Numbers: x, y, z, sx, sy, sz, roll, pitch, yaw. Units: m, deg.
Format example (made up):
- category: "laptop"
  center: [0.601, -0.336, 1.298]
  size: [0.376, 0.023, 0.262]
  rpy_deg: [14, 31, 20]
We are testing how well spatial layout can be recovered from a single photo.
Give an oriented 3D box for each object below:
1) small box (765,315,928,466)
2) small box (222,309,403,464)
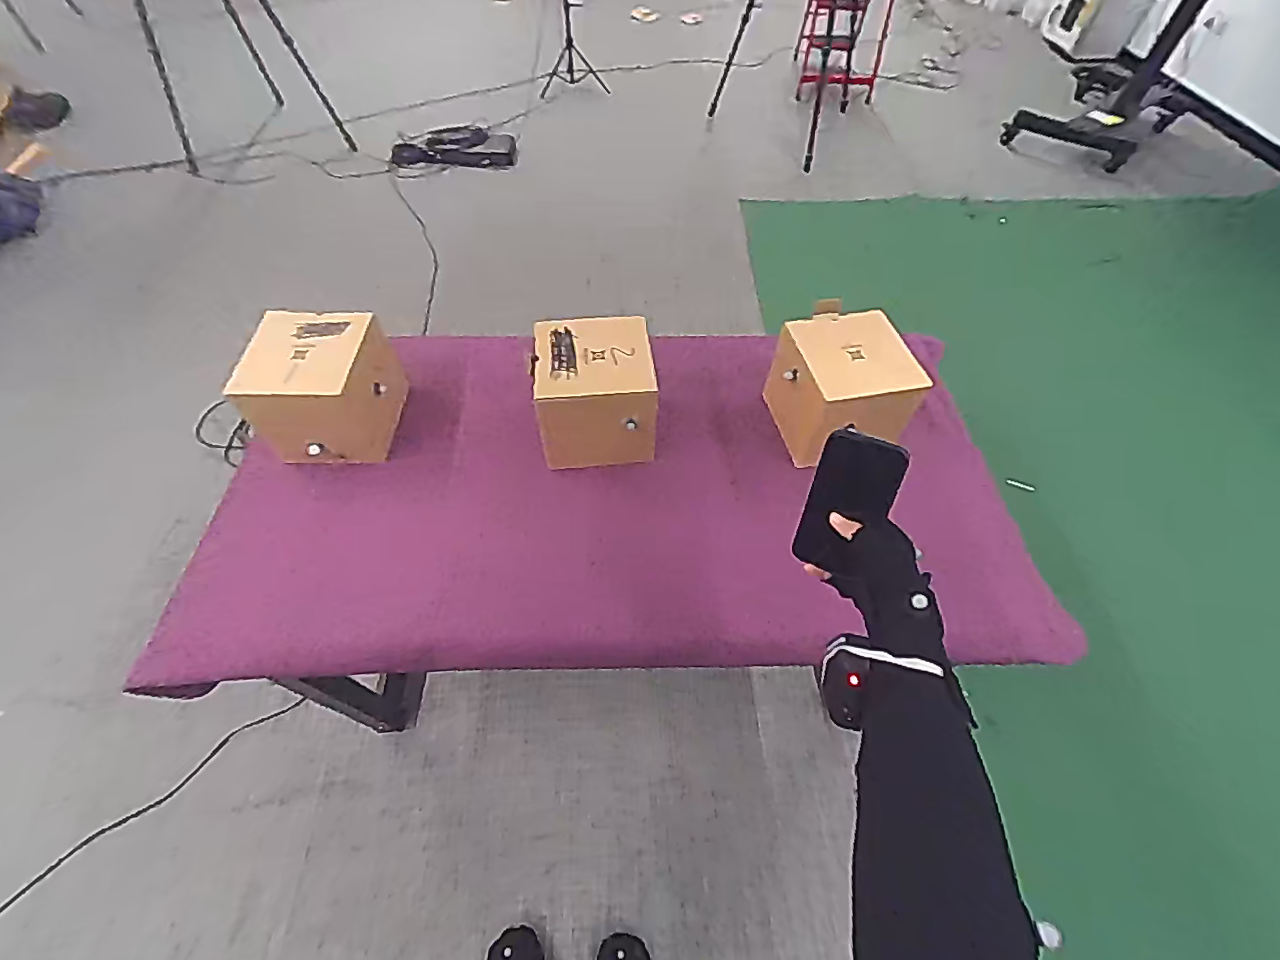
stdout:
- category: "small box"
  center: [0.318, -0.137, 0.875]
  size: [0.168, 0.176, 0.179]
  rpy_deg: [-9, 55, -7]
- category: "small box"
  center: [-0.496, -0.146, 0.856]
  size: [0.168, 0.176, 0.179]
  rpy_deg: [1, 57, -1]
